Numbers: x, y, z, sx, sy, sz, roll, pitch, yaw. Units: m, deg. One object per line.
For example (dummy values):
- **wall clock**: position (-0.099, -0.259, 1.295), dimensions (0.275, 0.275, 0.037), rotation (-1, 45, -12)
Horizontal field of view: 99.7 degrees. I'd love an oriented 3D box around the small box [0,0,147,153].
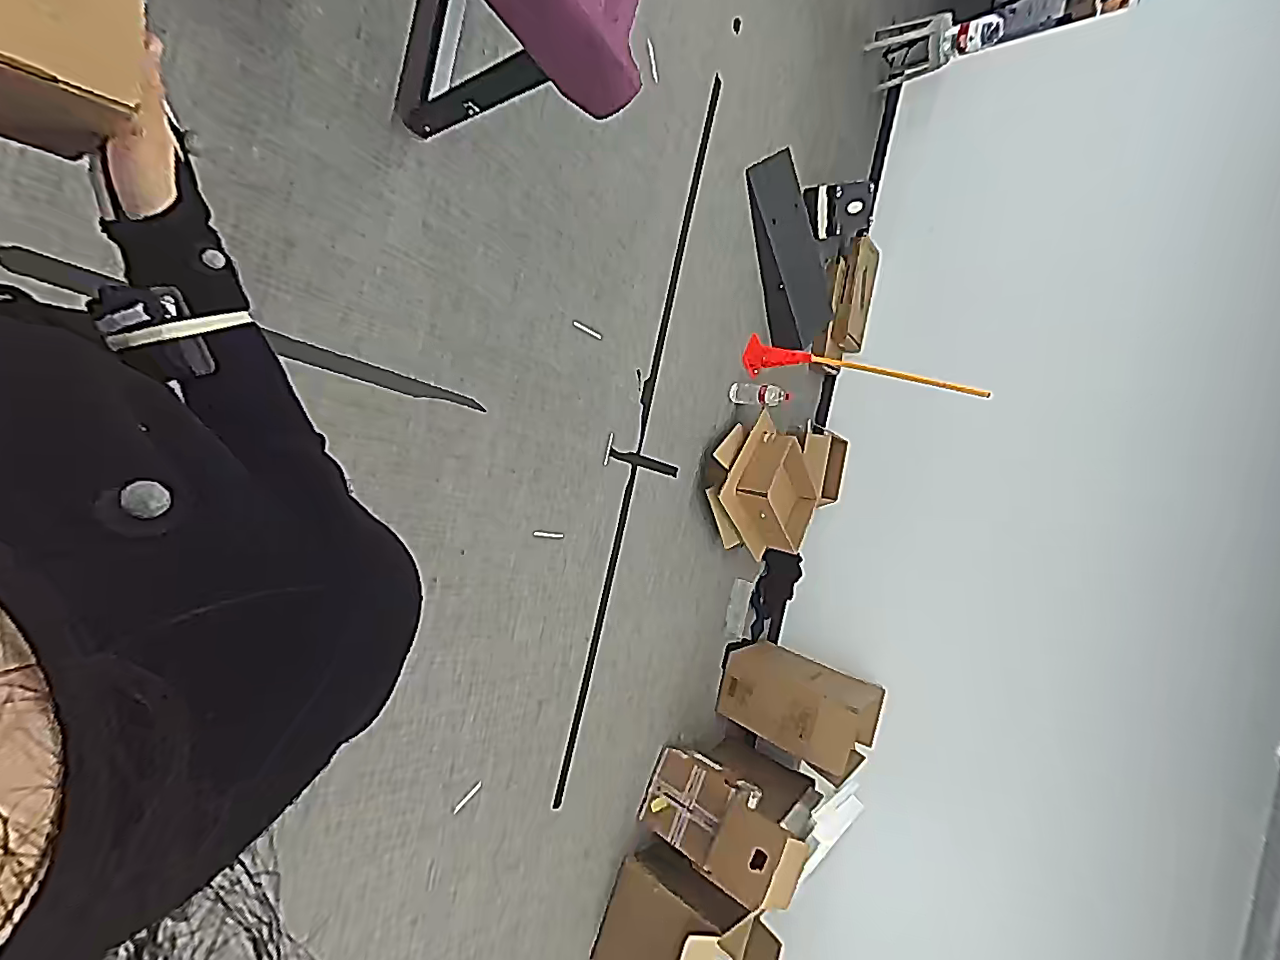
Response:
- **small box**: position (-0.366, -0.290, 0.262), dimensions (0.168, 0.176, 0.179), rotation (-2, 103, -54)
